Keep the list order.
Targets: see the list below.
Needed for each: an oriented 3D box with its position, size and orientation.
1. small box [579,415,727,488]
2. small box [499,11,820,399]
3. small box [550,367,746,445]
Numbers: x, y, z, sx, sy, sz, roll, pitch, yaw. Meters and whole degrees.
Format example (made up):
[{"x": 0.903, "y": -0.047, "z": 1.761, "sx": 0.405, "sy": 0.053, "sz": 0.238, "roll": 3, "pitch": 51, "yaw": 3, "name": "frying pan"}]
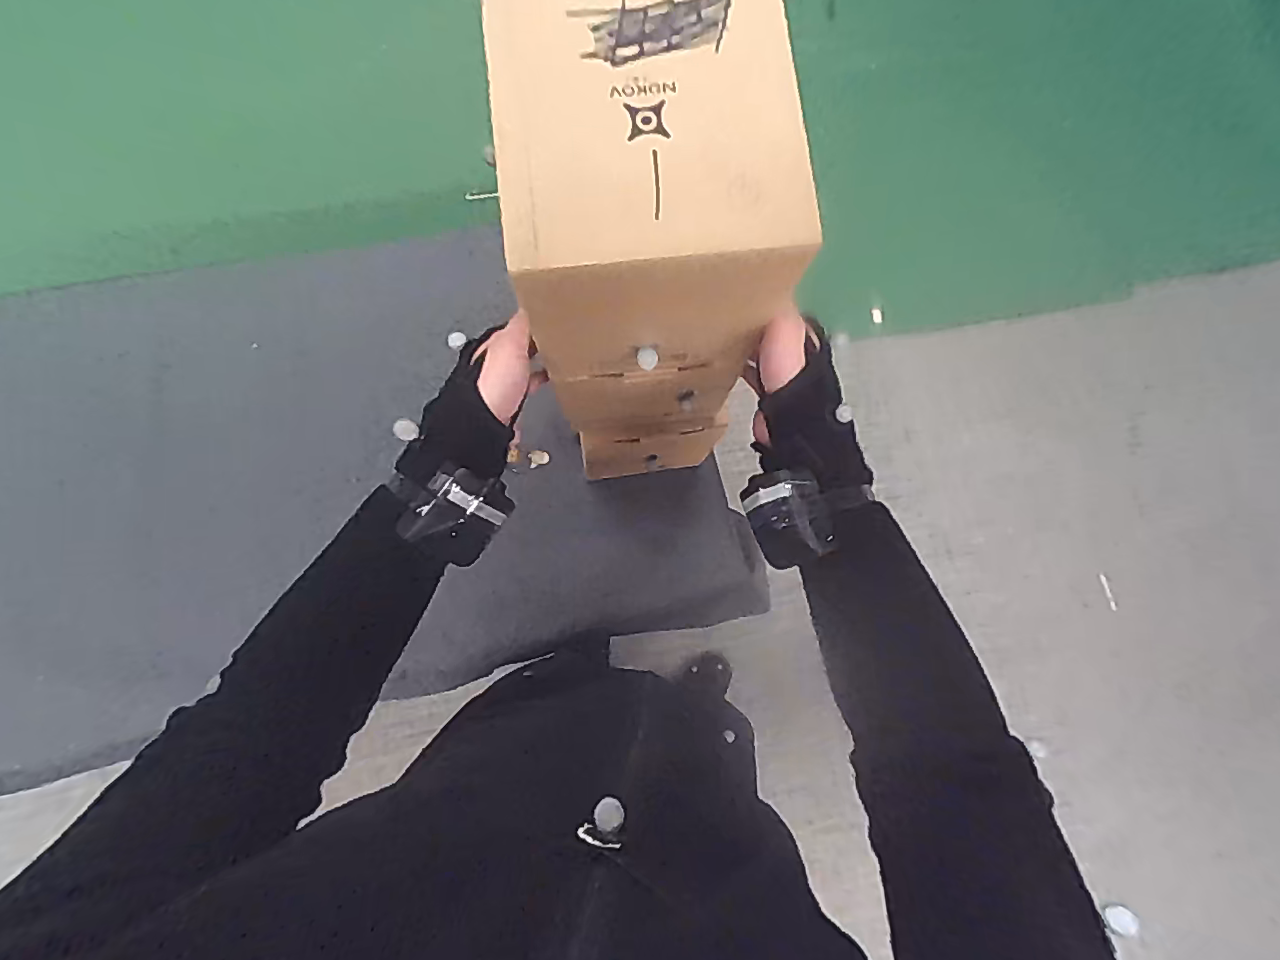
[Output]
[{"x": 0.001, "y": -0.091, "z": 0.702, "sx": 0.168, "sy": 0.176, "sz": 0.179, "roll": -9, "pitch": 79, "yaw": -7, "name": "small box"}, {"x": 0.004, "y": -0.171, "z": 0.380, "sx": 0.168, "sy": 0.176, "sz": 0.179, "roll": -7, "pitch": 81, "yaw": -3, "name": "small box"}, {"x": -0.003, "y": -0.139, "z": 0.542, "sx": 0.168, "sy": 0.176, "sz": 0.179, "roll": -7, "pitch": 79, "yaw": -4, "name": "small box"}]
